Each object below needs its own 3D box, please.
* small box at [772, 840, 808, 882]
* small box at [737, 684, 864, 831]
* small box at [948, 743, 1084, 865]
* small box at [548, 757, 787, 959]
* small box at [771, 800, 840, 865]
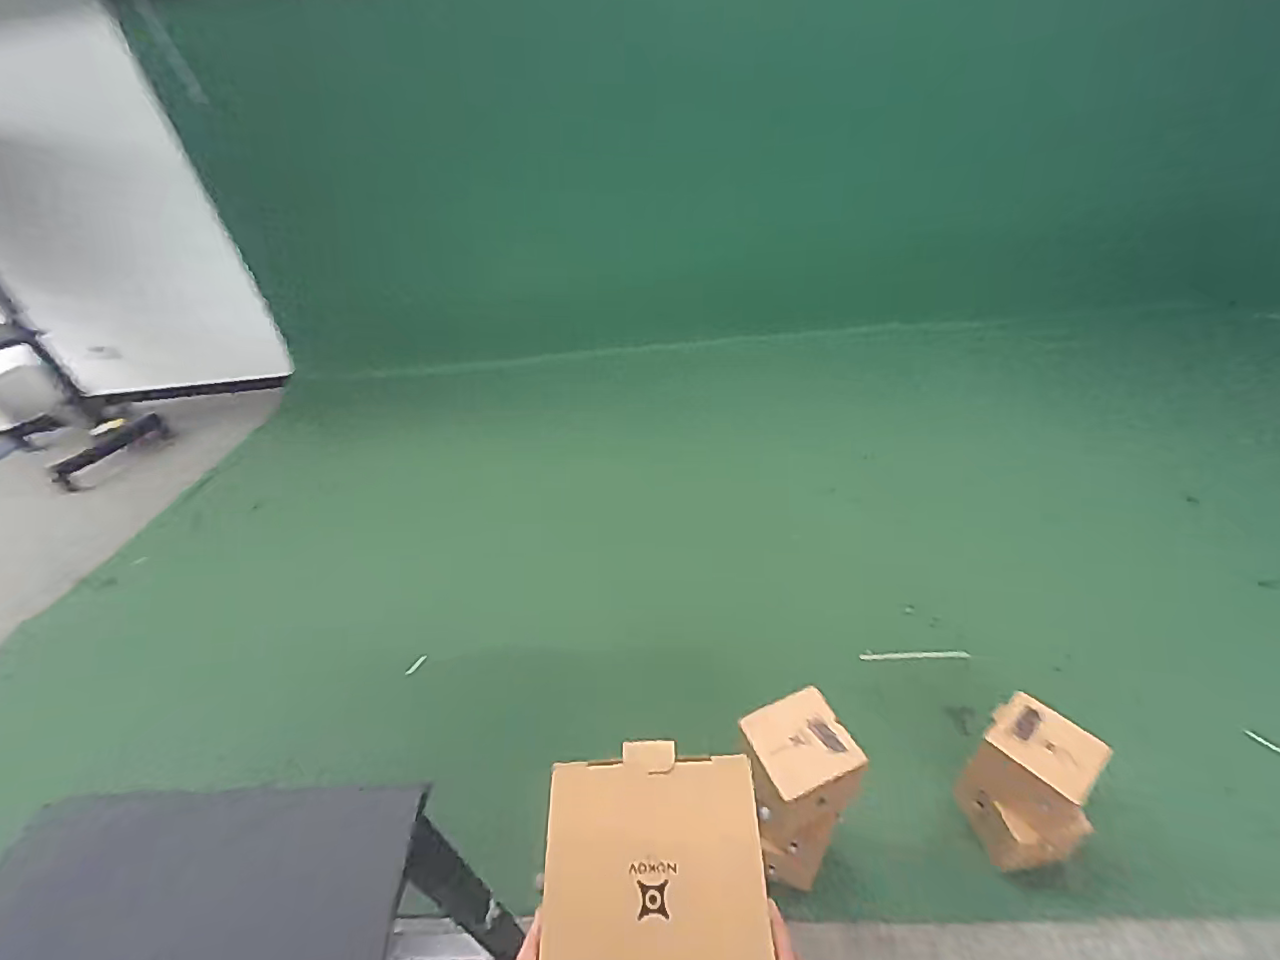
[{"bbox_3d":[0.313,0.795,1.259,0.168,0.176,0.179,7,39,17],"label":"small box"},{"bbox_3d":[0.301,0.540,1.055,0.179,0.176,0.168,-19,40,-13],"label":"small box"},{"bbox_3d":[0.845,0.741,1.239,0.168,0.176,0.179,-9,37,-3],"label":"small box"},{"bbox_3d":[0.026,0.344,0.449,0.168,0.176,0.179,-4,52,3],"label":"small box"},{"bbox_3d":[0.327,0.669,1.154,0.168,0.176,0.179,23,46,32],"label":"small box"}]
